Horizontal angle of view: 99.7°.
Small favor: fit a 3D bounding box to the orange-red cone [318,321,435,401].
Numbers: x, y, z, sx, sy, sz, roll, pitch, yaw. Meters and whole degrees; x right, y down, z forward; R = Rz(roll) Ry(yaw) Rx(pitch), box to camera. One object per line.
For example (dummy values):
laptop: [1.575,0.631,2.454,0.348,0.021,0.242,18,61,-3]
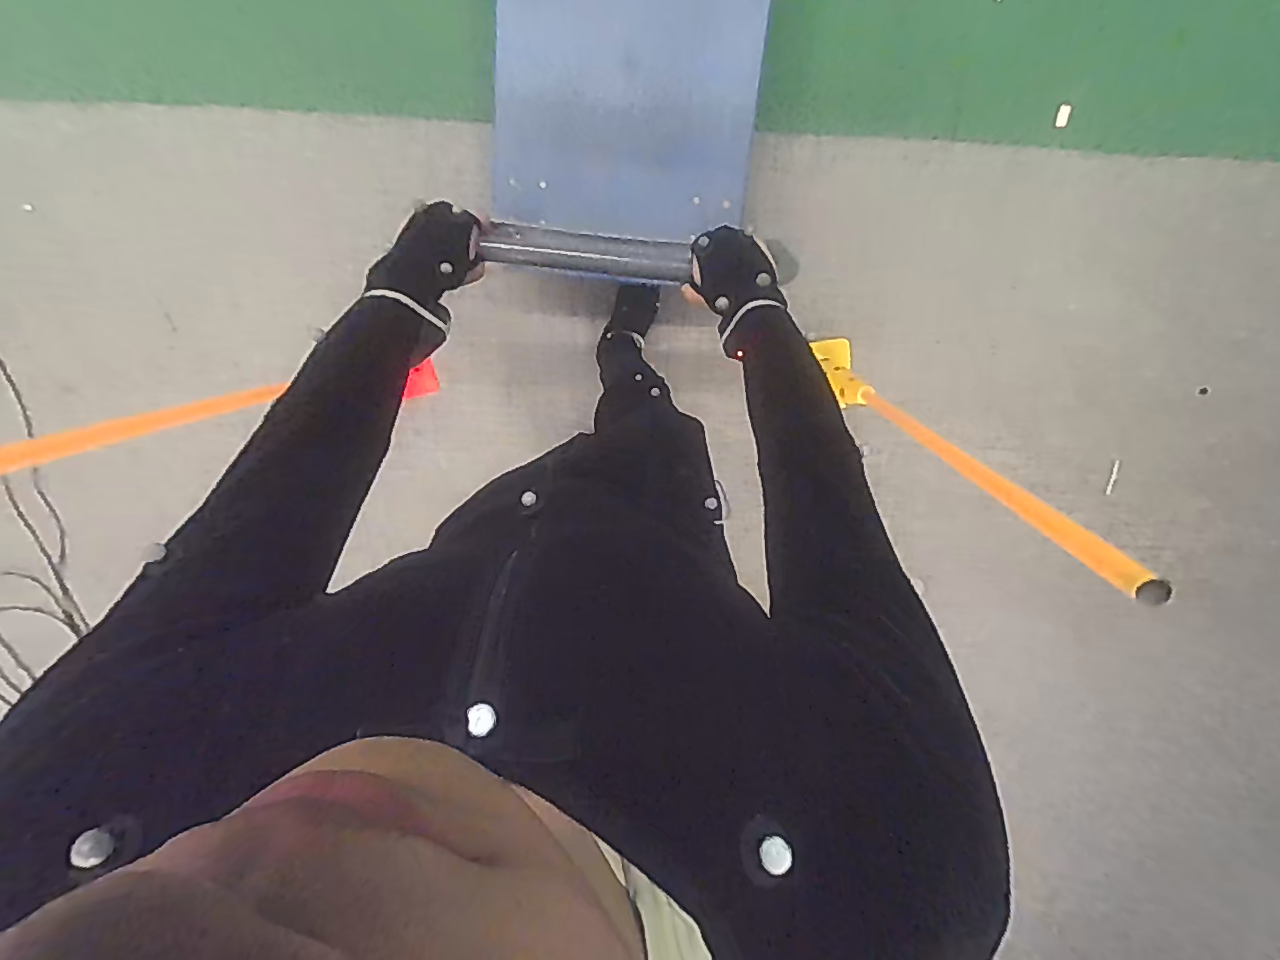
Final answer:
orange-red cone: [-0.684,-0.278,1.339,0.199,0.360,0.198,-12,107,4]
